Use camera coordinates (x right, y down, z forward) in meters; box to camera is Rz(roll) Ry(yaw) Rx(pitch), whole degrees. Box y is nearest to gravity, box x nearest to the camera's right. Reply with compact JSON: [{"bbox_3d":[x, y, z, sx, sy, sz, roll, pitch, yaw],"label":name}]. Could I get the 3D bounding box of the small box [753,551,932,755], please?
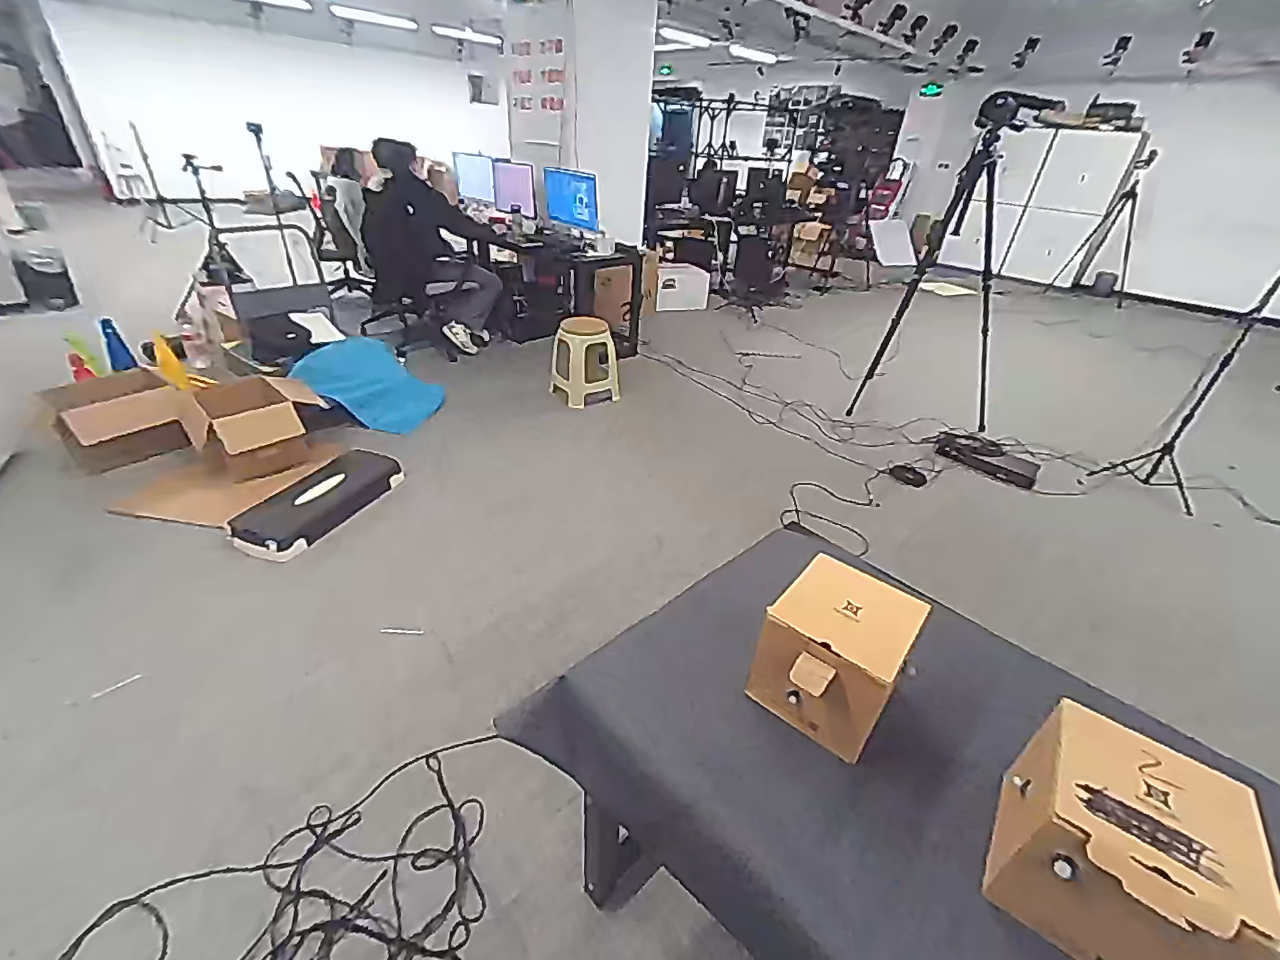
[{"bbox_3d":[0.278,0.238,0.765,0.168,0.176,0.179,27,39,30],"label":"small box"}]
